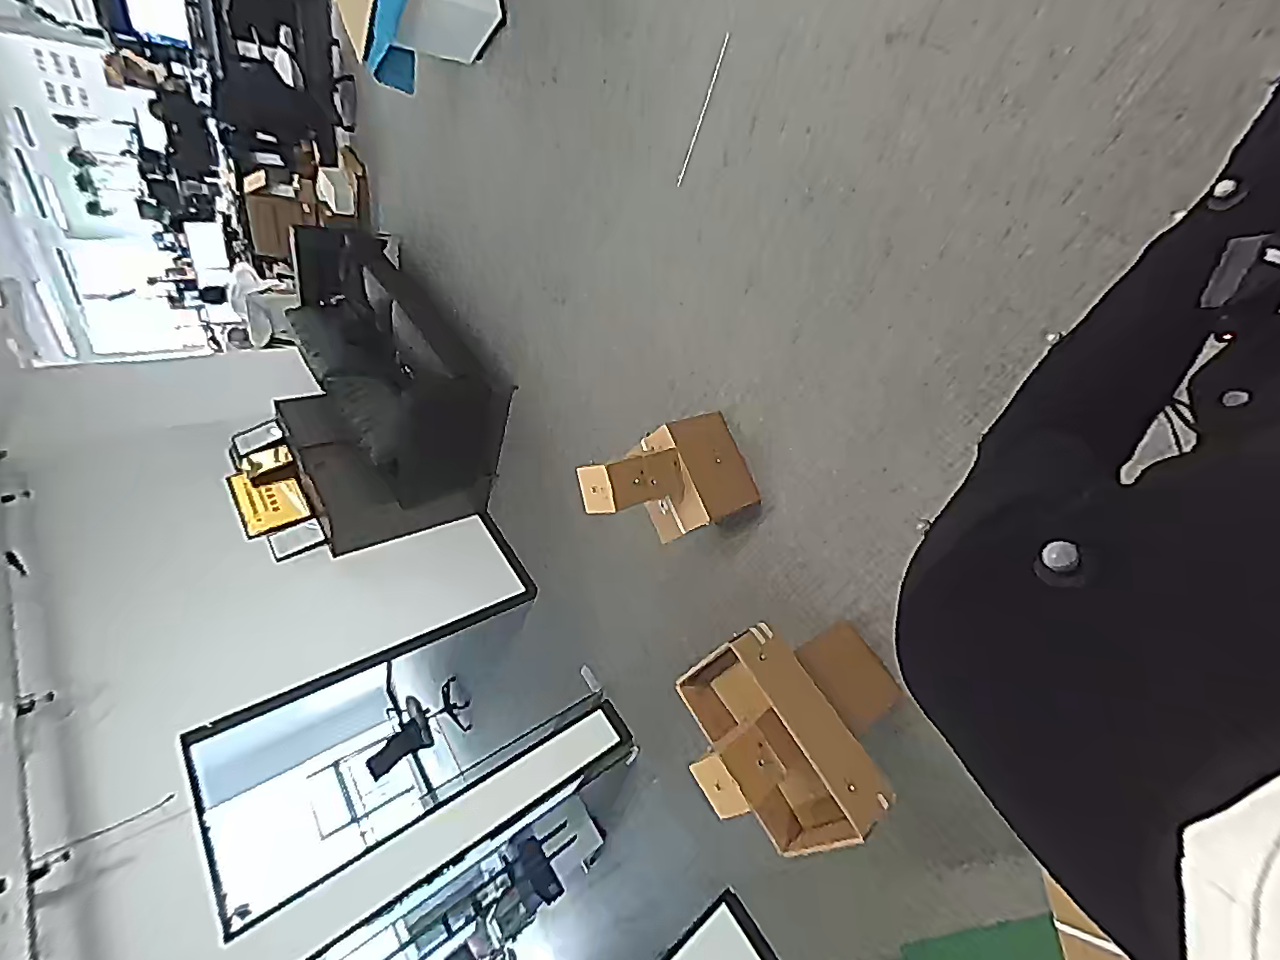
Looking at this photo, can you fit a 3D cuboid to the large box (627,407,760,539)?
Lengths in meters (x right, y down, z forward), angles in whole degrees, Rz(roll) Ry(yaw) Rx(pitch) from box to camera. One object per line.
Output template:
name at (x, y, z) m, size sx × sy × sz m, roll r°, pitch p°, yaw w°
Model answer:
large box at (0.205, -0.031, 2.176) m, size 0.320 × 0.320 × 0.408 m, roll -35°, pitch 78°, yaw 51°

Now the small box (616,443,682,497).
small box at (0.026, -0.036, 1.994) m, size 0.179 × 0.176 × 0.168 m, roll -4°, pitch 102°, yaw 51°

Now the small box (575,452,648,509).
small box at (-0.098, 0.001, 1.890) m, size 0.179 × 0.176 × 0.168 m, roll -5°, pitch 101°, yaw 49°

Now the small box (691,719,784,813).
small box at (0.289, 0.842, 1.597) m, size 0.168 × 0.176 × 0.179 m, roll 54°, pitch 138°, yaw 19°
